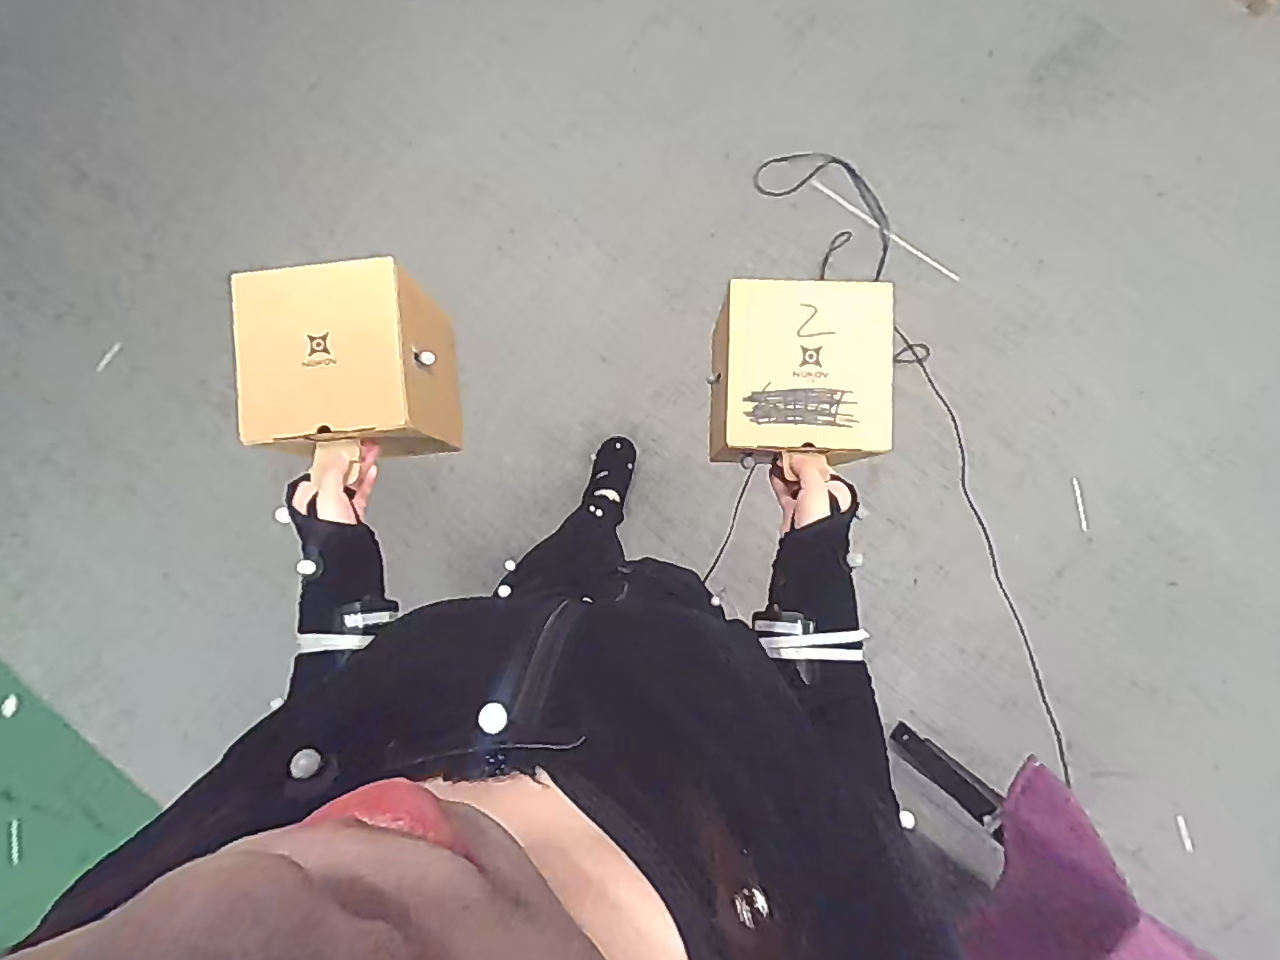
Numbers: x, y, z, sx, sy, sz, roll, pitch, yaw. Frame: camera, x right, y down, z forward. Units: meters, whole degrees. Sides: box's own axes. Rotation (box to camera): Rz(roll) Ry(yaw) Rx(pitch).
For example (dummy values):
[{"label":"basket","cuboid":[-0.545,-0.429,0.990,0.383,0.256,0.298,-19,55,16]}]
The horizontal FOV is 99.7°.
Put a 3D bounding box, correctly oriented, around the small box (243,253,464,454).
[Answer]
[{"label":"small box","cuboid":[-0.309,-0.130,0.614,0.168,0.176,0.179,-5,87,0]}]
